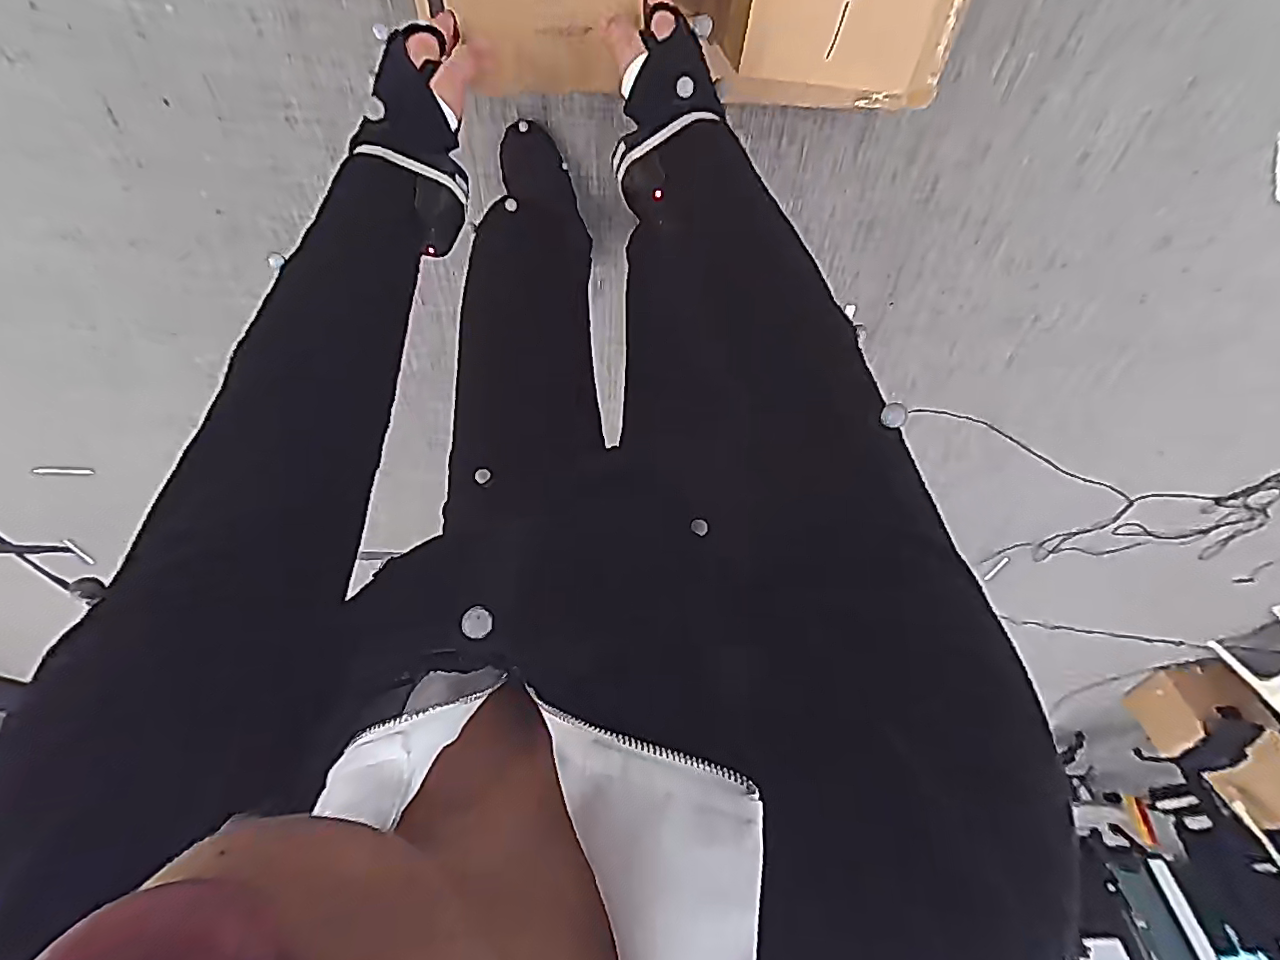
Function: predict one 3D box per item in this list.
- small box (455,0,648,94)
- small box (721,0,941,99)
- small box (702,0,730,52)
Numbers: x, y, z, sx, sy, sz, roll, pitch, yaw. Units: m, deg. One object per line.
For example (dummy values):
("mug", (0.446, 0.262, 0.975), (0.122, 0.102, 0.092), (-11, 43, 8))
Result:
("small box", (-0.078, -0.484, 0.499), (0.168, 0.176, 0.179), (-2, 138, 1))
("small box", (0.178, -0.488, 0.504), (0.168, 0.176, 0.179), (3, 138, -5))
("small box", (0.166, -0.608, 0.616), (0.168, 0.176, 0.179), (1, 137, -2))
